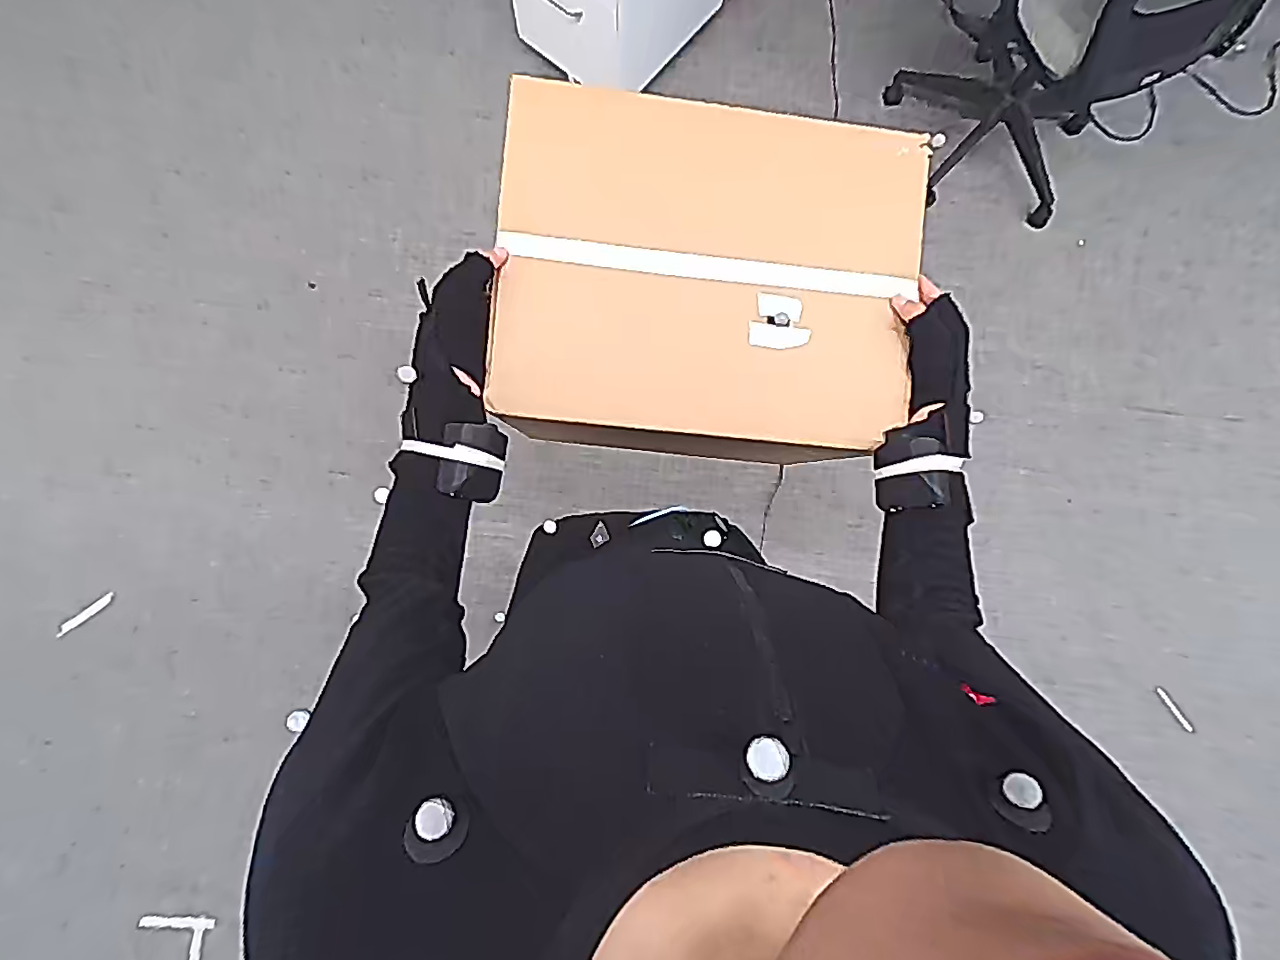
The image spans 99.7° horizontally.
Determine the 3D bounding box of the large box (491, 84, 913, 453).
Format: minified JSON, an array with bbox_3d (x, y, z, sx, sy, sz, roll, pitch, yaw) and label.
[{"bbox_3d":[0.052,-0.209,0.674,0.408,0.320,0.320,6,91,-5],"label":"large box"}]
